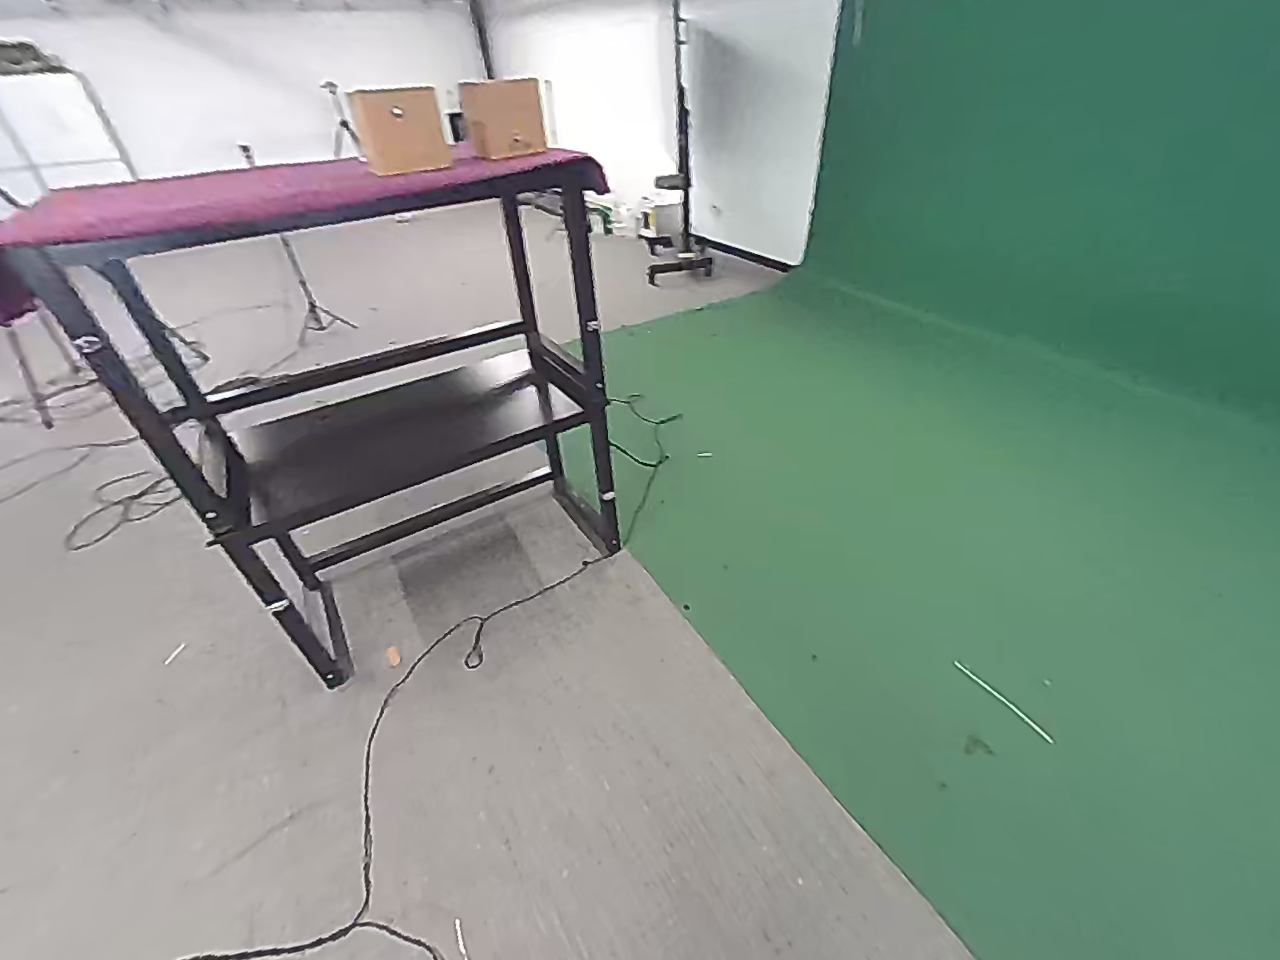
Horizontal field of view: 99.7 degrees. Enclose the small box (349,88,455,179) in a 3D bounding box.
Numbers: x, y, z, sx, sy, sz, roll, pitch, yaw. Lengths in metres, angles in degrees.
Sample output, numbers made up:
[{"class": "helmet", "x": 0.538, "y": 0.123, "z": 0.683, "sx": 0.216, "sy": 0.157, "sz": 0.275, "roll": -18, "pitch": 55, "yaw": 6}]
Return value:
[{"class": "small box", "x": -0.580, "y": -0.846, "z": 1.323, "sx": 0.179, "sy": 0.176, "sz": 0.168, "roll": -23, "pitch": 41, "yaw": -24}]
